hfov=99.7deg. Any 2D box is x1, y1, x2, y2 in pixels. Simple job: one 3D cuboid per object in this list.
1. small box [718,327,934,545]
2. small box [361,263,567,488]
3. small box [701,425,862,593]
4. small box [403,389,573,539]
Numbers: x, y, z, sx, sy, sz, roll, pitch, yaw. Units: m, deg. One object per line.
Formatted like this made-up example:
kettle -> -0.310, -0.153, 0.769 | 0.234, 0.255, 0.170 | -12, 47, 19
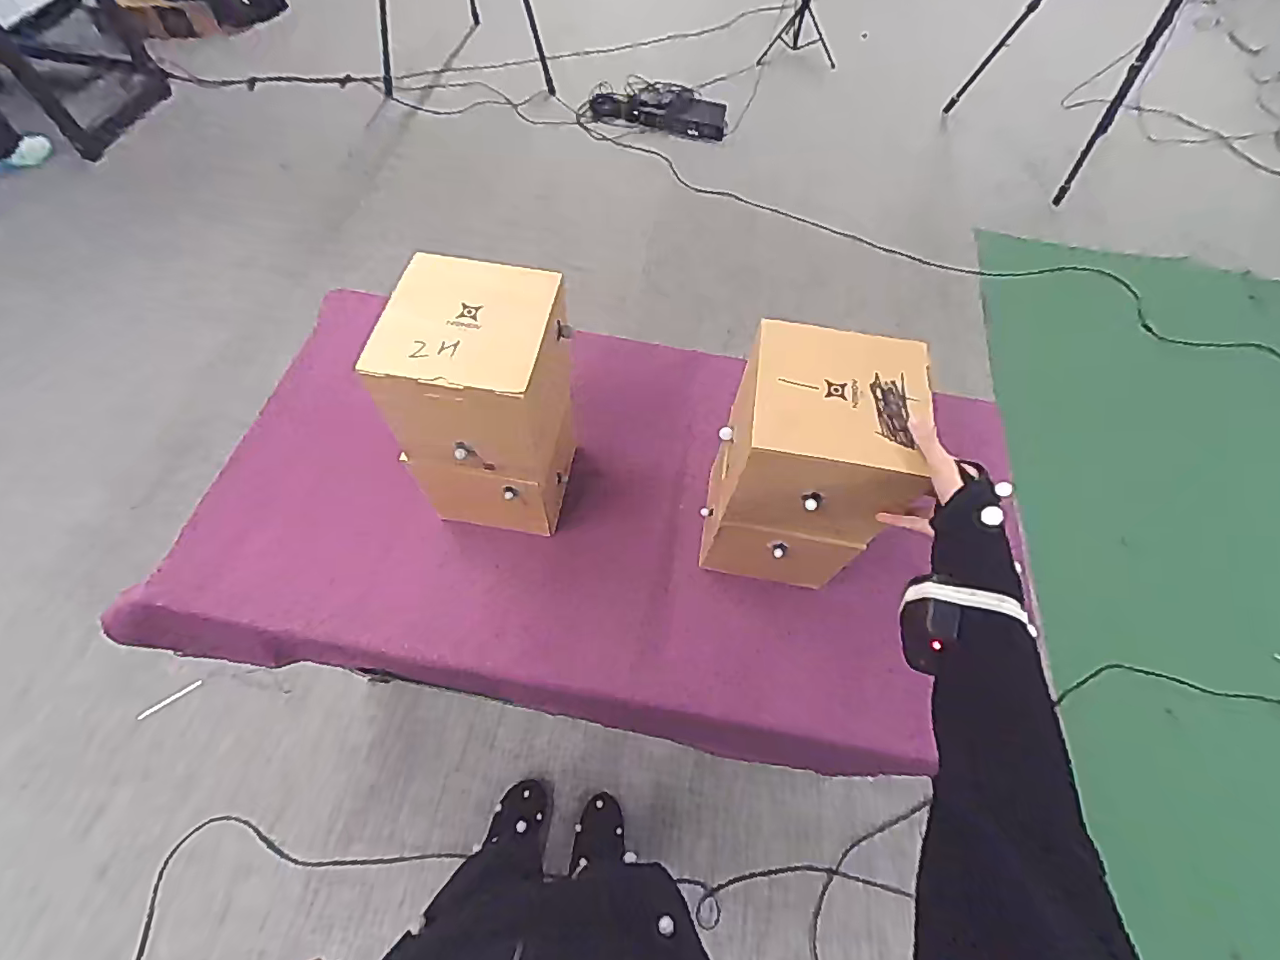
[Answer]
small box -> 0.194, -0.040, 0.602 | 0.179, 0.176, 0.168 | 9, 61, 3
small box -> -0.181, -0.115, 0.626 | 0.168, 0.176, 0.179 | 9, 59, 1
small box -> 0.186, 0.043, 0.745 | 0.179, 0.176, 0.168 | 11, 61, 2
small box -> -0.198, -0.030, 0.766 | 0.179, 0.176, 0.168 | 9, 60, 1
